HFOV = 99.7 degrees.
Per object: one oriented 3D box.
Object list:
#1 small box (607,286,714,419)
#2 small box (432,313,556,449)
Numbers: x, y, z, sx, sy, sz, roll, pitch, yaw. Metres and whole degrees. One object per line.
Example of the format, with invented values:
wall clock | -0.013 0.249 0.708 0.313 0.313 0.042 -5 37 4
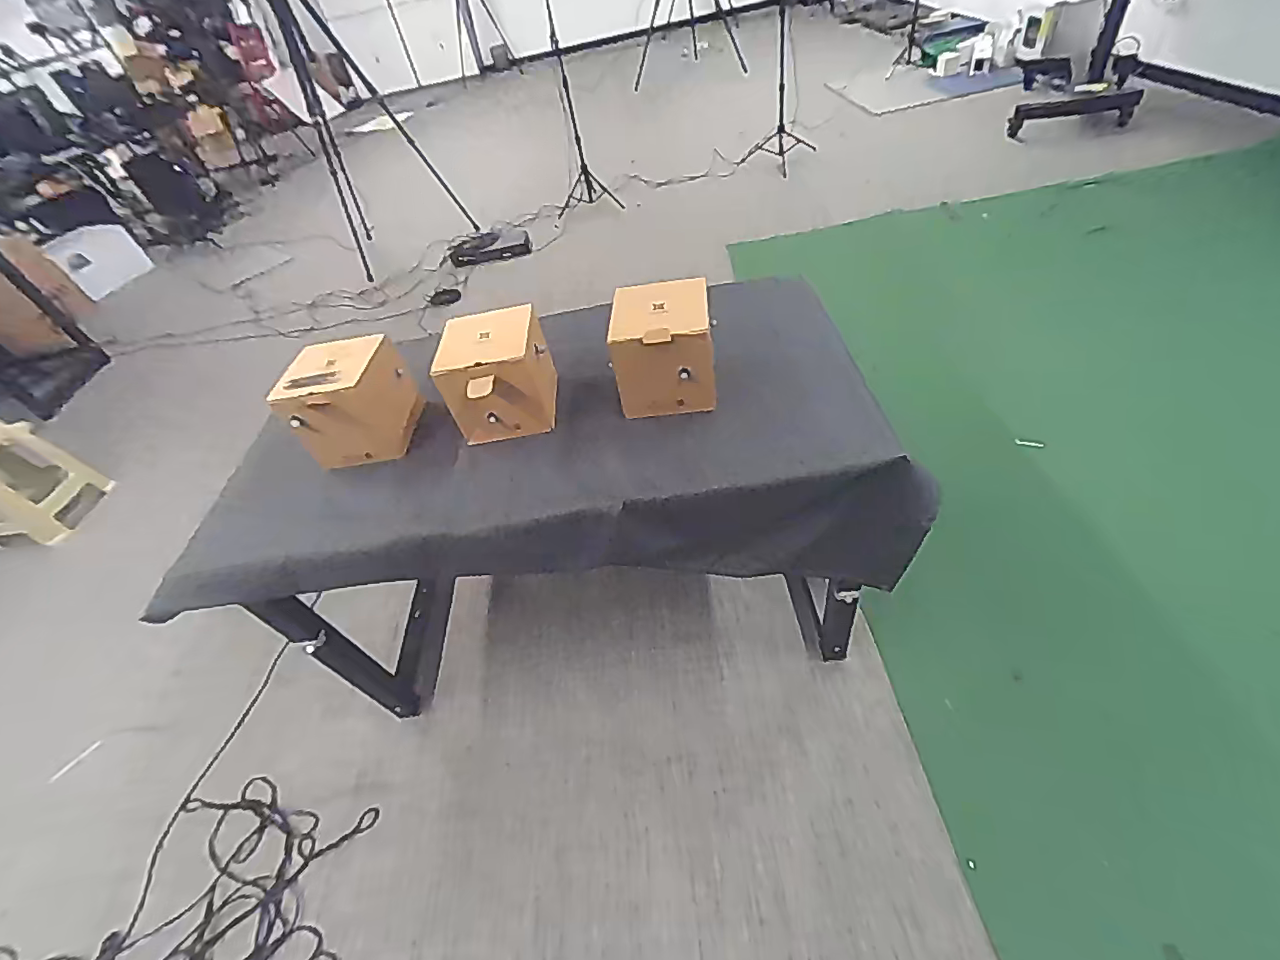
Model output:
small box | 0.044 -0.222 0.972 0.168 0.176 0.179 -4 45 8
small box | -0.258 -0.182 1.006 0.168 0.176 0.179 -9 46 4
